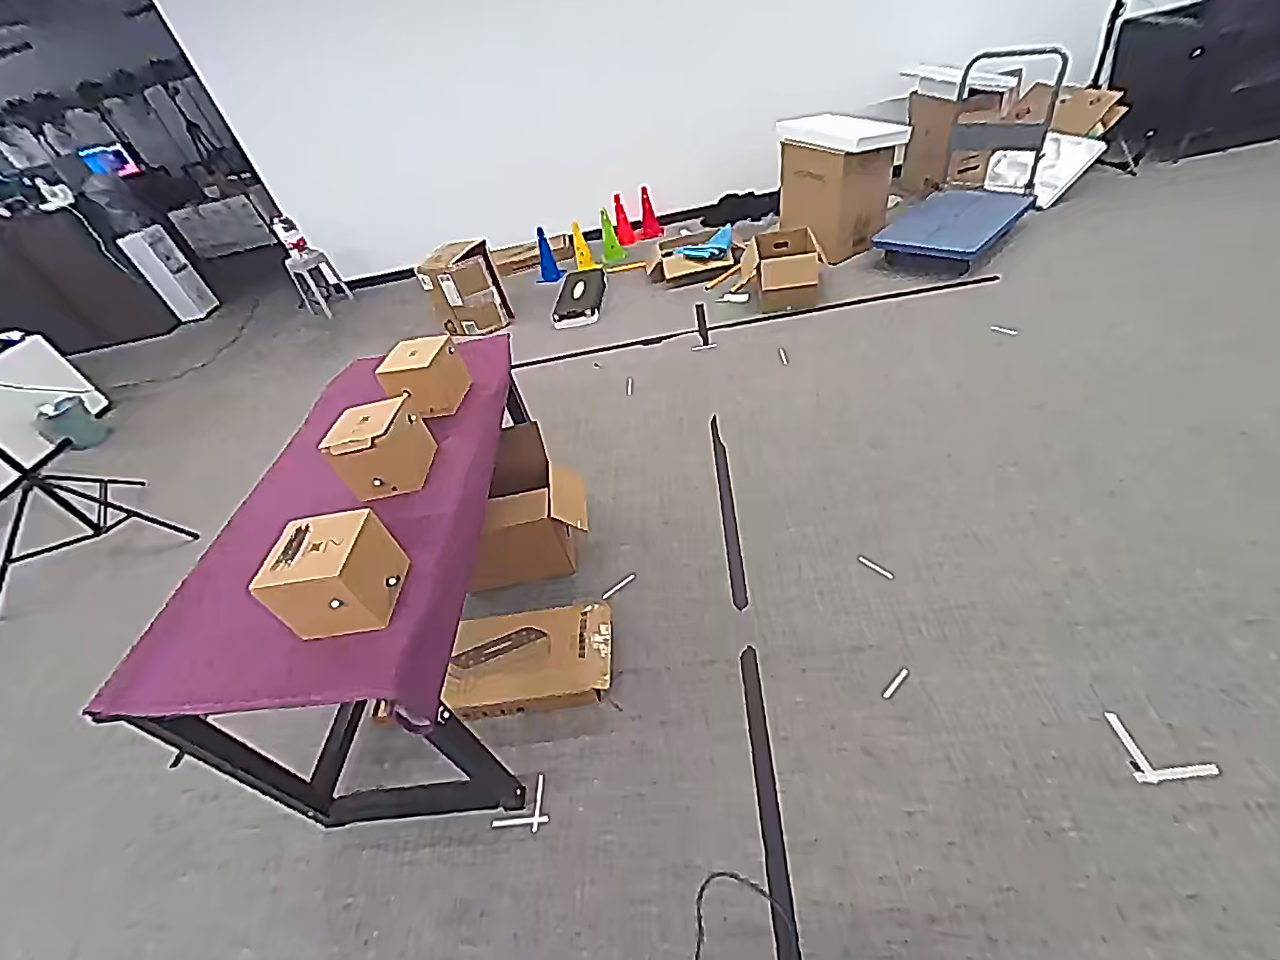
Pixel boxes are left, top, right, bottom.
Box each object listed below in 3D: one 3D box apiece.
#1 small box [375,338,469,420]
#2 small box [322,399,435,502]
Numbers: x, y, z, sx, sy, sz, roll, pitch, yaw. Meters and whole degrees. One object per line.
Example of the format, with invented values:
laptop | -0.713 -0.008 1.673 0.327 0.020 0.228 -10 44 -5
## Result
small box | -0.621 -0.287 1.571 0.168 0.176 0.179 -5 42 11
small box | -0.634 -0.071 1.337 0.168 0.176 0.179 -12 42 8
